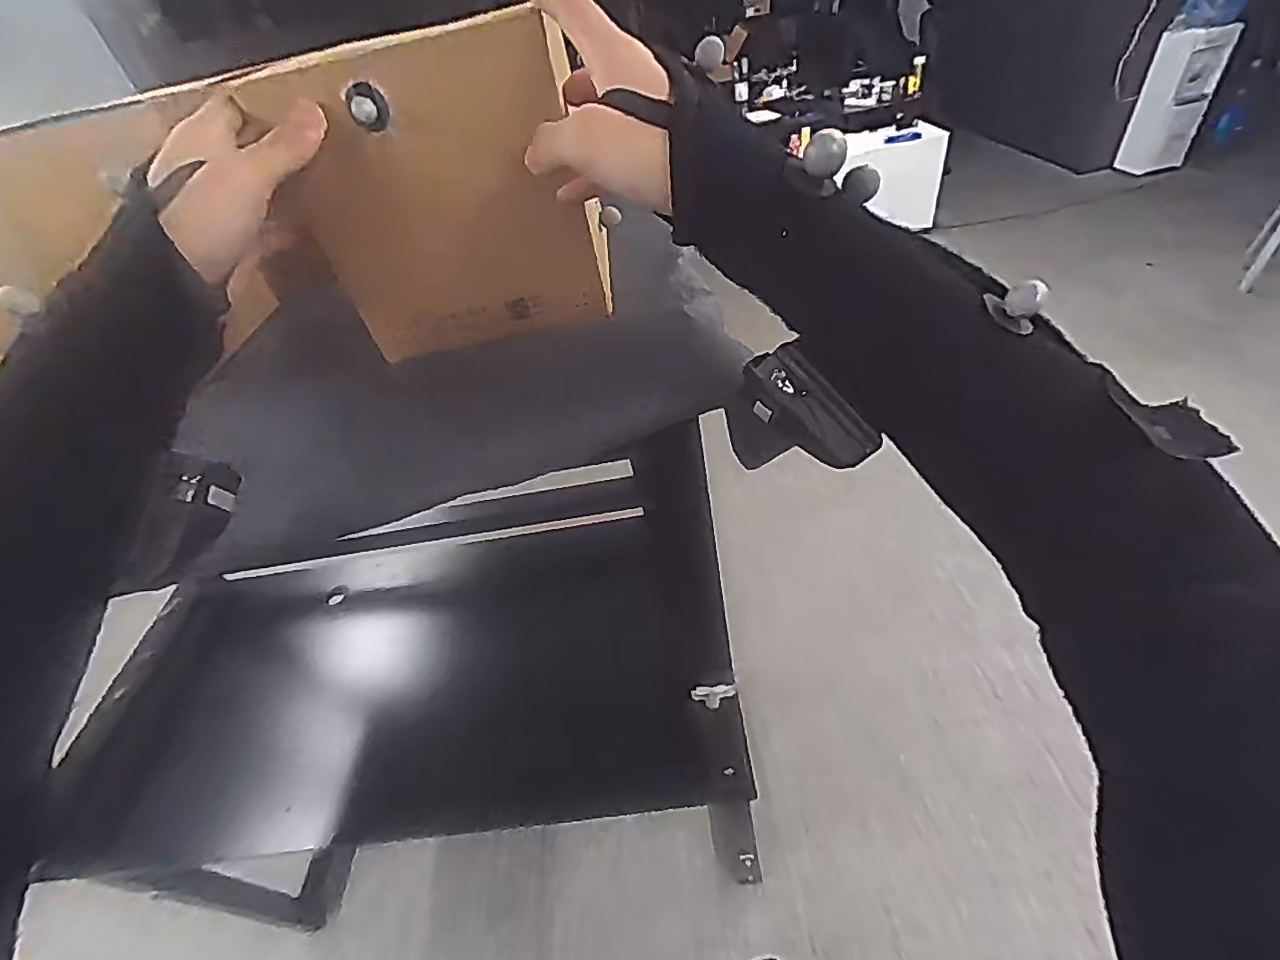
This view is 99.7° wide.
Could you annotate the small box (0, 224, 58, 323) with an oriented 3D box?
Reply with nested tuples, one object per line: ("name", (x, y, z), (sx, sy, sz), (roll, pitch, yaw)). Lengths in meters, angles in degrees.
("small box", (-0.830, -0.238, 0.593), (0.168, 0.176, 0.179), (-9, 42, 4))

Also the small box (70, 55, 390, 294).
("small box", (-0.391, -0.316, 0.563), (0.168, 0.176, 0.179), (-9, 42, 5))
